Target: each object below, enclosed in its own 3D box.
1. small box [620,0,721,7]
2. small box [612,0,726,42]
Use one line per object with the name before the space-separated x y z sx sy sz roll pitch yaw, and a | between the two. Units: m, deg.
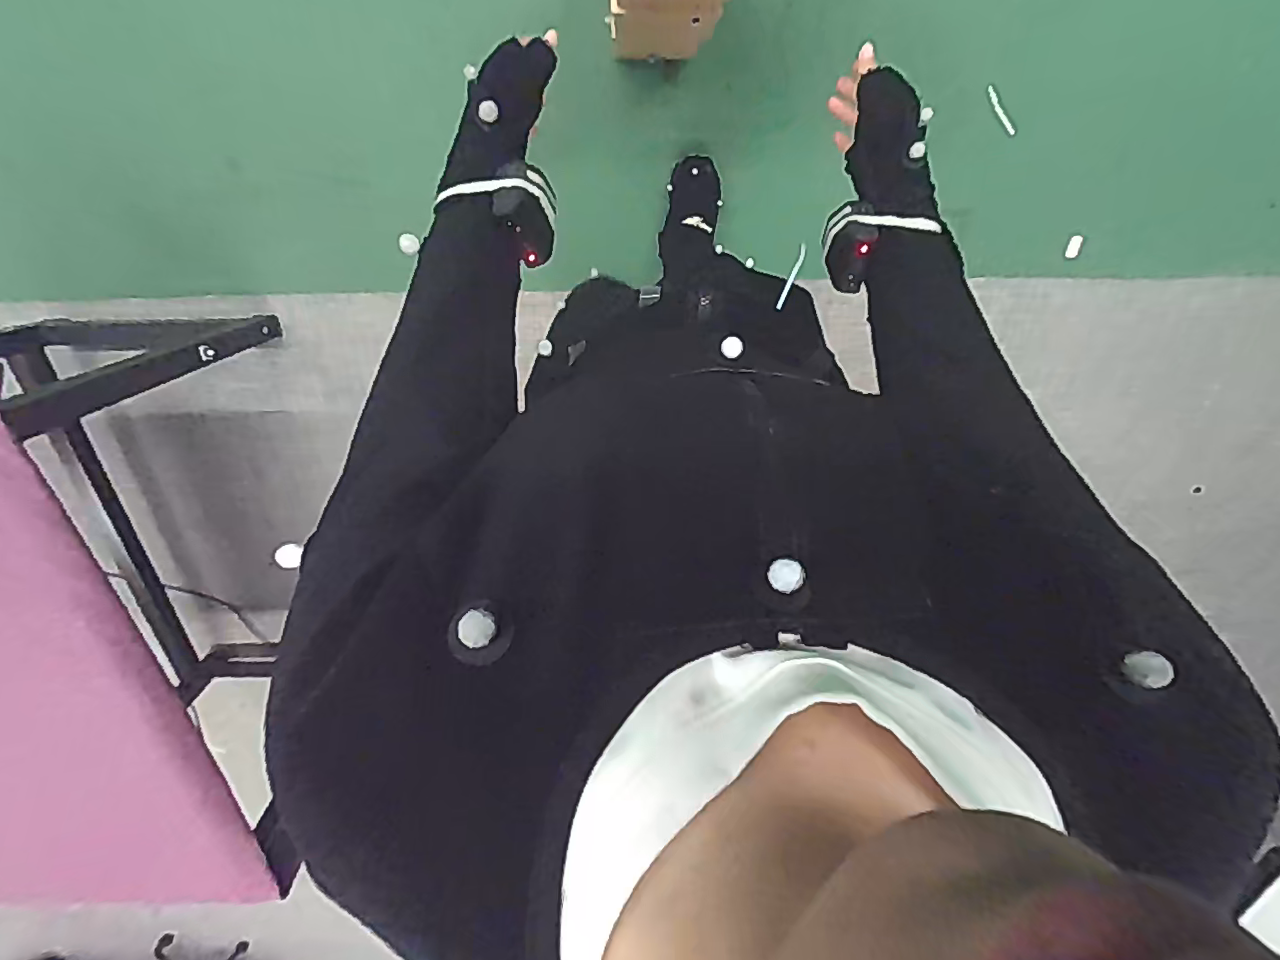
small box | 0.053 -0.758 0.717 0.179 0.176 0.168 -2 118 1
small box | 0.044 -0.826 0.867 0.179 0.176 0.168 -1 118 -1
